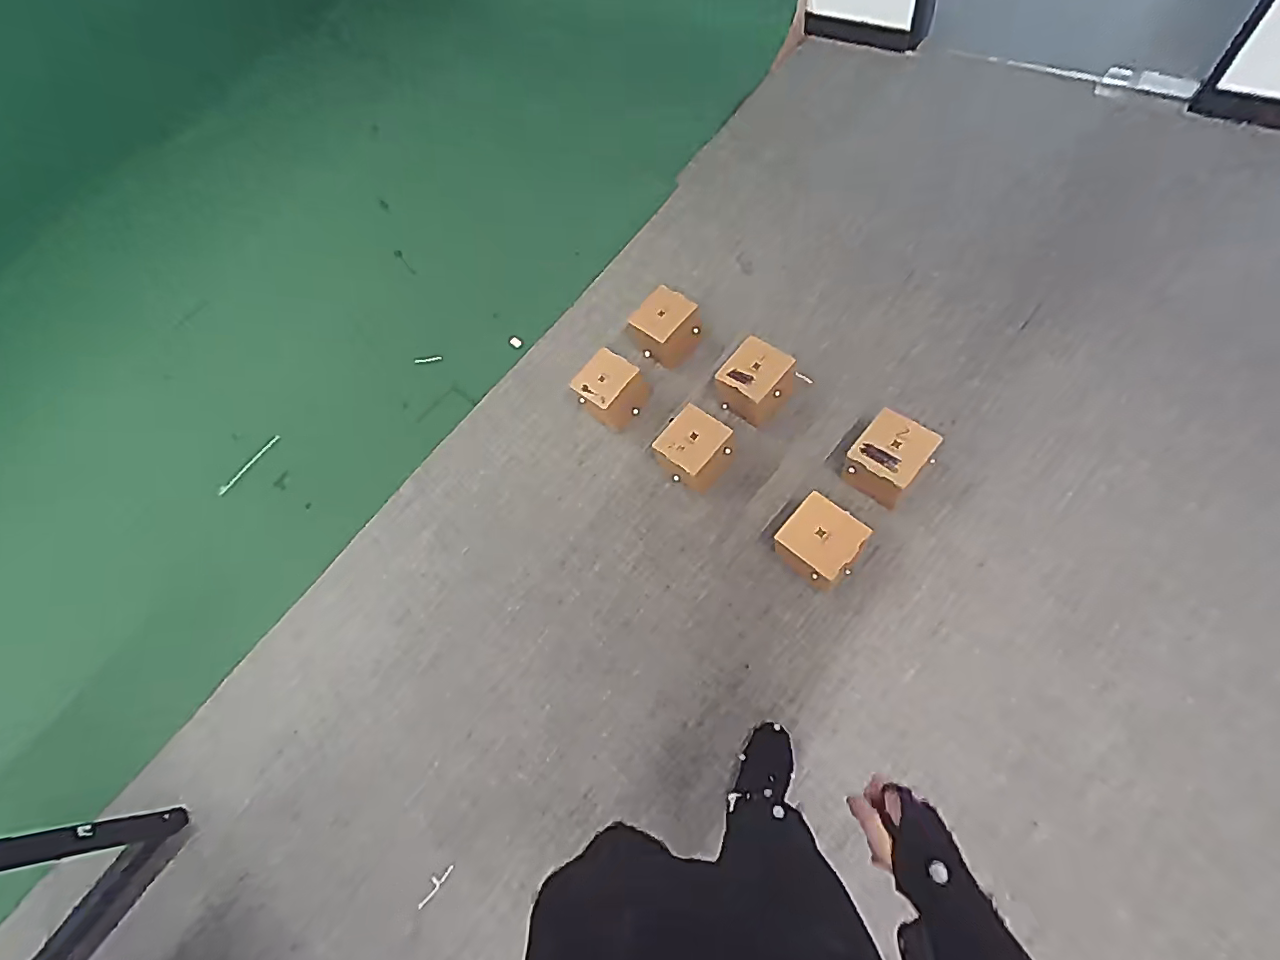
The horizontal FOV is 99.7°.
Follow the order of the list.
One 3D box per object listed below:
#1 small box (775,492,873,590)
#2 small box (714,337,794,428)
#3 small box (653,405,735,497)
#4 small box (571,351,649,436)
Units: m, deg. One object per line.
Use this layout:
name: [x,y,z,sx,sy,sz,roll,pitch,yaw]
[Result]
small box: [0.473,0.165,1.408,0.179,0.176,0.168,38,82,25]
small box: [0.350,-0.289,1.631,0.168,0.176,0.179,38,81,26]
small box: [0.168,-0.082,1.597,0.168,0.176,0.179,38,82,26]
small box: [-0.088,-0.278,1.752,0.168,0.176,0.179,36,80,26]
